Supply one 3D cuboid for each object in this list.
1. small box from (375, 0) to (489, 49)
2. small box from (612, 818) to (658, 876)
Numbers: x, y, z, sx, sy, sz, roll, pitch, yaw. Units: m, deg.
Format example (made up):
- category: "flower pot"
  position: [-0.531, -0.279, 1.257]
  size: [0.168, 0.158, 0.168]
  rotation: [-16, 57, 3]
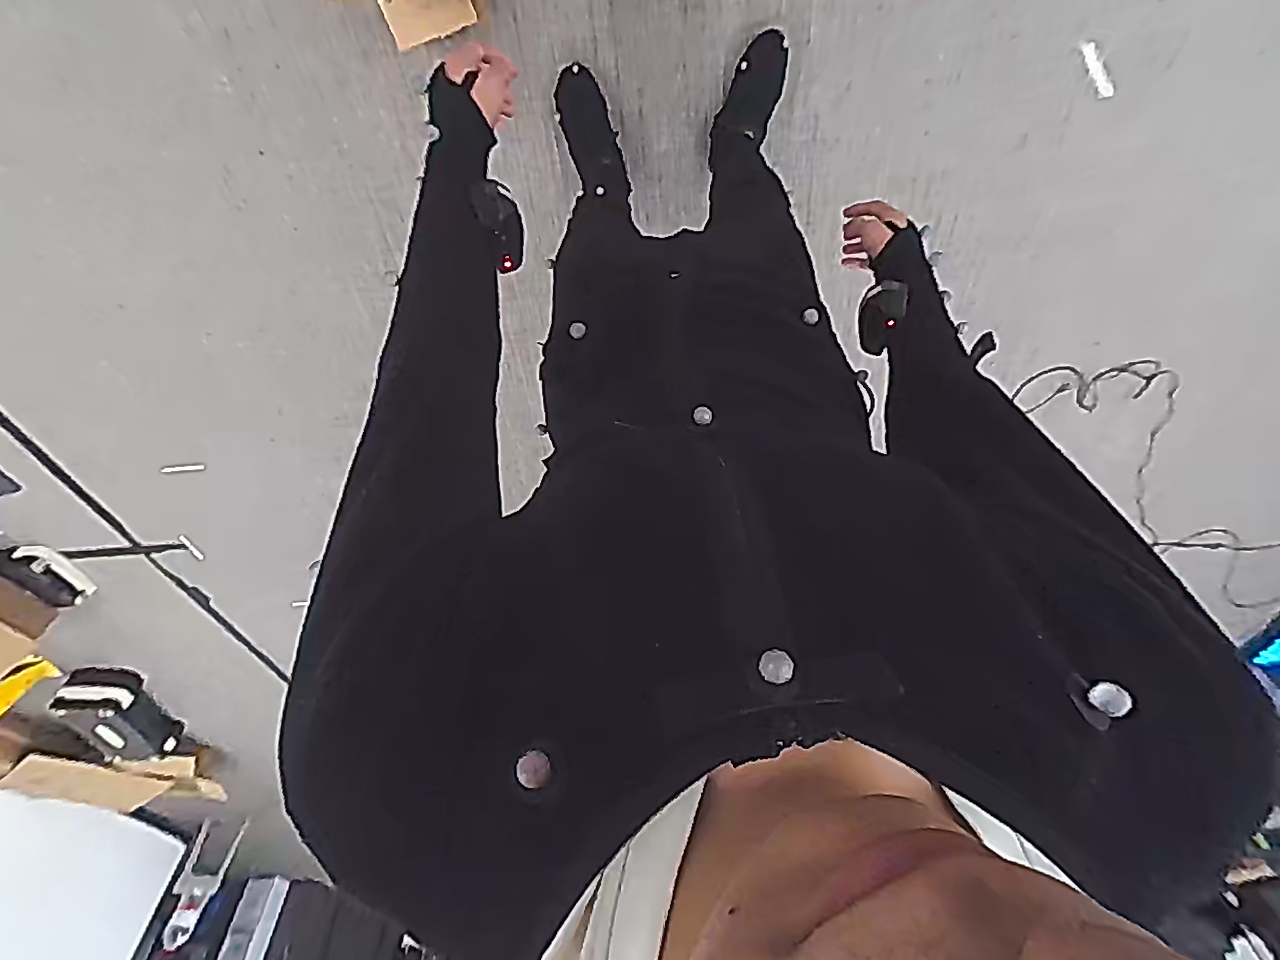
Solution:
- category: "small box"
  position: [-0.404, -0.941, 1.010]
  size: [0.168, 0.176, 0.179]
  rotation: [-13, 131, 9]
- category: "small box"
  position: [-0.019, 1.552, 2.288]
  size: [0.179, 0.176, 0.168]
  rotation: [-7, 133, 4]
